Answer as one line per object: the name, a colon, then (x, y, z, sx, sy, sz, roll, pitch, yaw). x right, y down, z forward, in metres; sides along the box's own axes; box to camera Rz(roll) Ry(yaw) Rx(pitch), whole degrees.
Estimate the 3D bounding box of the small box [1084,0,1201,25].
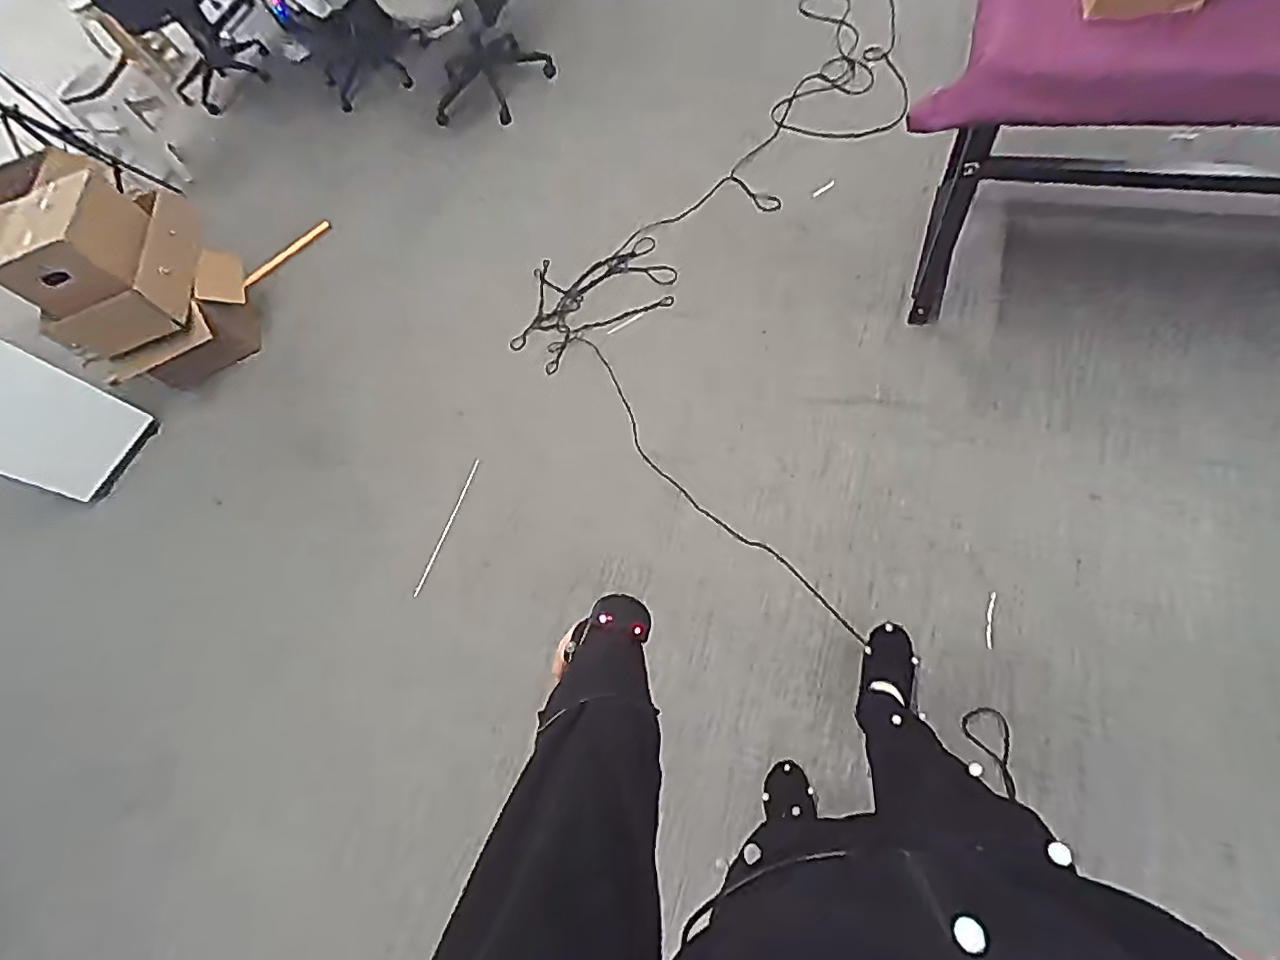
small box: (0.920, -0.943, 0.952, 0.179, 0.176, 0.168, 10, 69, 18)
